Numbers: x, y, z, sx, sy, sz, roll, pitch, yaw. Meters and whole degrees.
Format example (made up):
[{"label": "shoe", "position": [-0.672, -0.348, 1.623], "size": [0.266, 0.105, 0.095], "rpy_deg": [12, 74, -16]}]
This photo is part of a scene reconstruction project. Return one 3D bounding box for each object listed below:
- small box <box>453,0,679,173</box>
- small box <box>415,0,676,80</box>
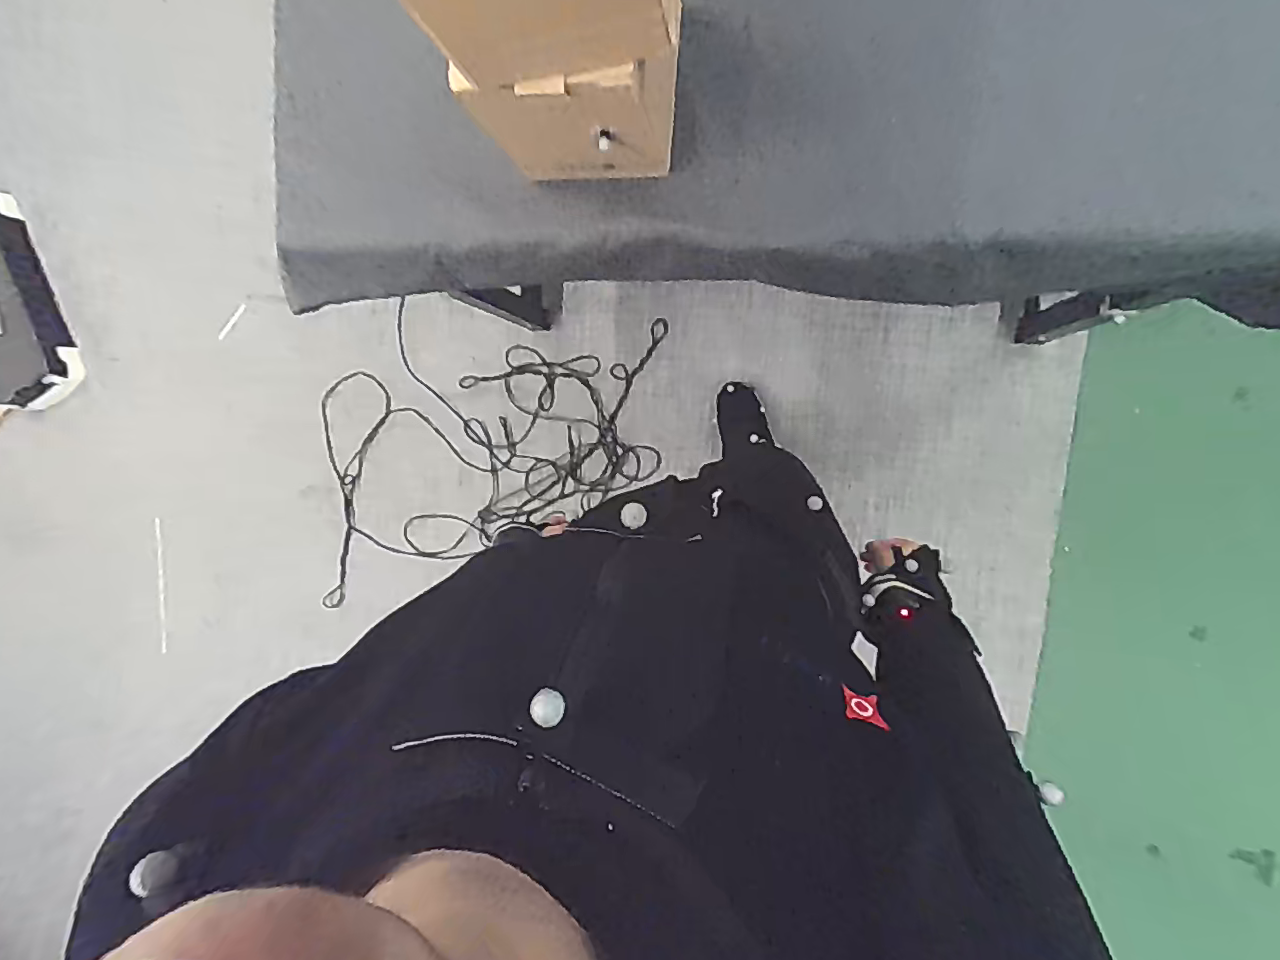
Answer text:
[{"label": "small box", "position": [-0.057, -0.417, 0.515], "size": [0.168, 0.176, 0.179], "rpy_deg": [5, 95, 11]}, {"label": "small box", "position": [-0.077, -0.405, 0.353], "size": [0.179, 0.176, 0.168], "rpy_deg": [-2, 94, 12]}]
